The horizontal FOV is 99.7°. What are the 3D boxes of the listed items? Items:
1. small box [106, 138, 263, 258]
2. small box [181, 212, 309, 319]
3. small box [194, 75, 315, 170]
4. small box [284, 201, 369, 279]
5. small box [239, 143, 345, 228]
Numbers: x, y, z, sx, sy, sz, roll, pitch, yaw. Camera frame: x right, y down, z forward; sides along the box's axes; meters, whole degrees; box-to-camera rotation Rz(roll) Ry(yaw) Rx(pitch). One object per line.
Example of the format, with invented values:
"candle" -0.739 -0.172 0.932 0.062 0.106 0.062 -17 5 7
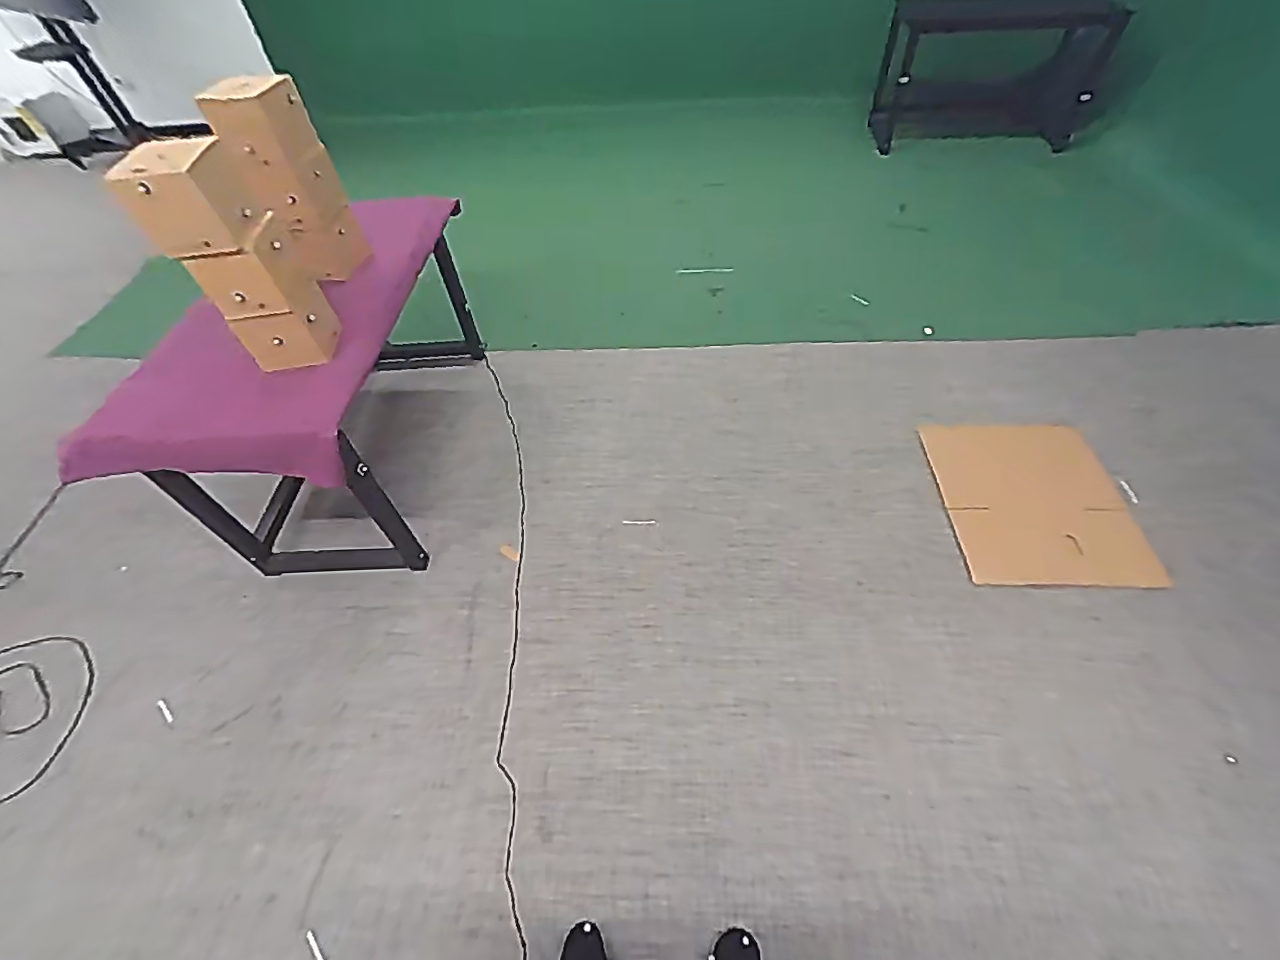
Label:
"small box" -0.960 -0.605 1.163 0.168 0.176 0.179 -7 52 0
"small box" -0.934 -0.513 1.297 0.168 0.176 0.179 -7 53 -1
"small box" -1.006 -0.949 1.435 0.168 0.176 0.179 3 53 6
"small box" -0.988 -0.749 1.694 0.168 0.176 0.179 4 52 7
"small box" -0.994 -0.848 1.565 0.168 0.176 0.179 4 52 6
